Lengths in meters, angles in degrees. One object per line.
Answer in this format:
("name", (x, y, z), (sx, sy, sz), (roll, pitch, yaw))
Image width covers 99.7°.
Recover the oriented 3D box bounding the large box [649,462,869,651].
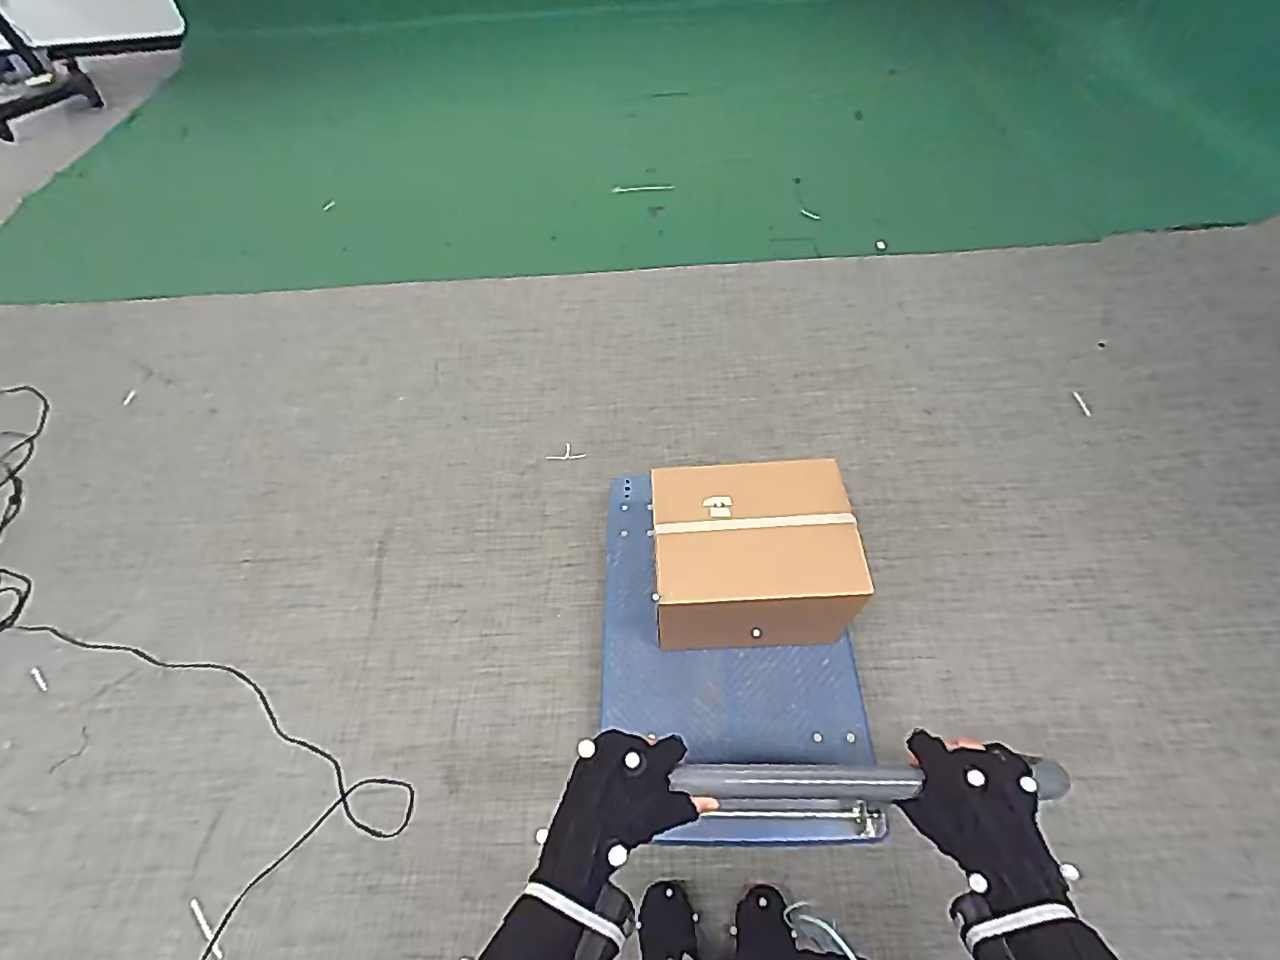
("large box", (0.236, 0.183, 1.217), (0.408, 0.320, 0.320), (-4, 55, 3))
